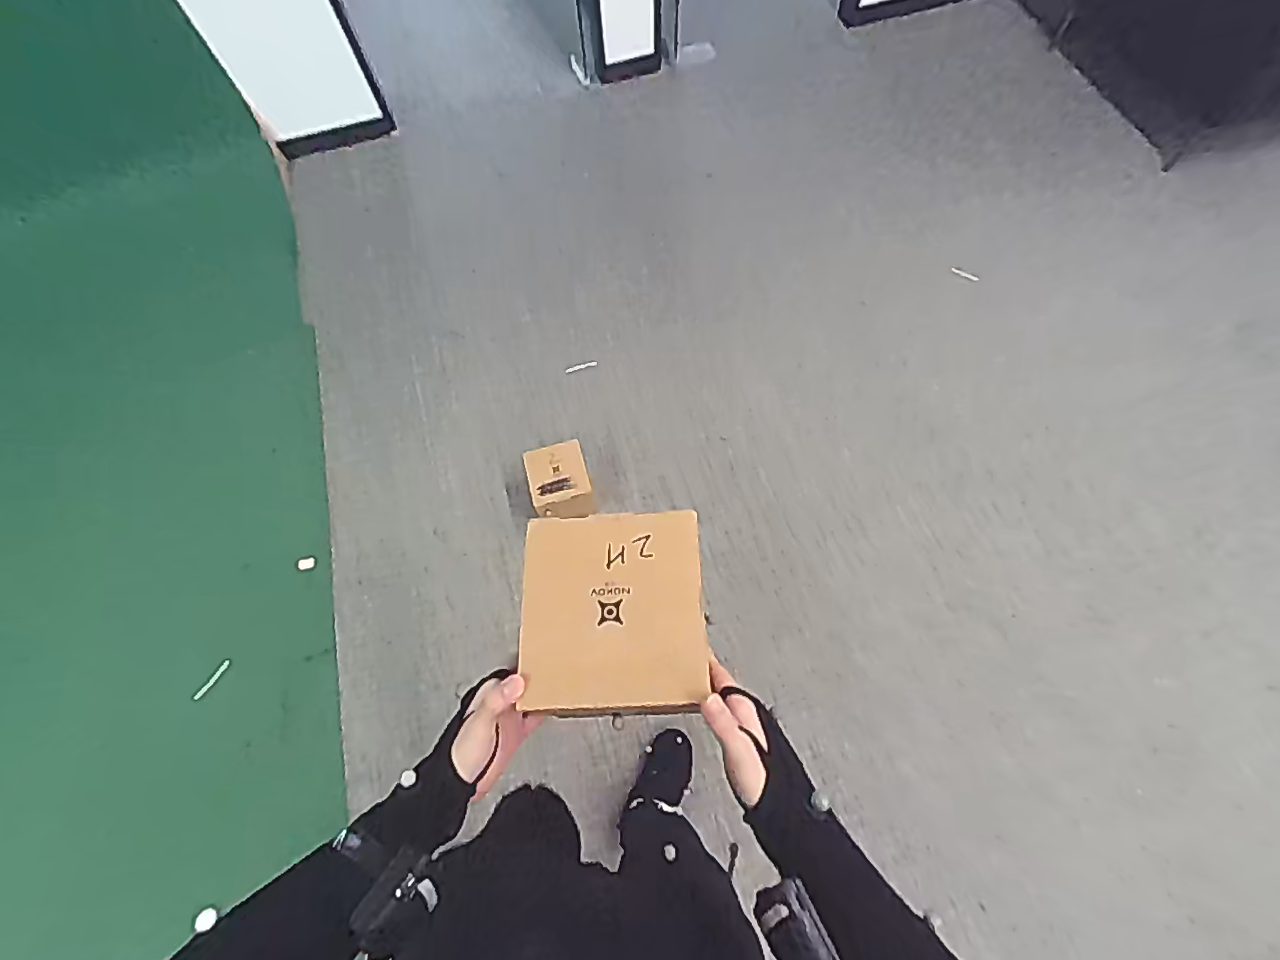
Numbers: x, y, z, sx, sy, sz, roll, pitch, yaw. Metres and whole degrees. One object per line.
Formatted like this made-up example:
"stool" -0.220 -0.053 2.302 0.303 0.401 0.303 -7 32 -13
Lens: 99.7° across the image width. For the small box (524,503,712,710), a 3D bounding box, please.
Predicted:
"small box" -0.013 0.141 0.562 0.168 0.176 0.179 -4 63 4
